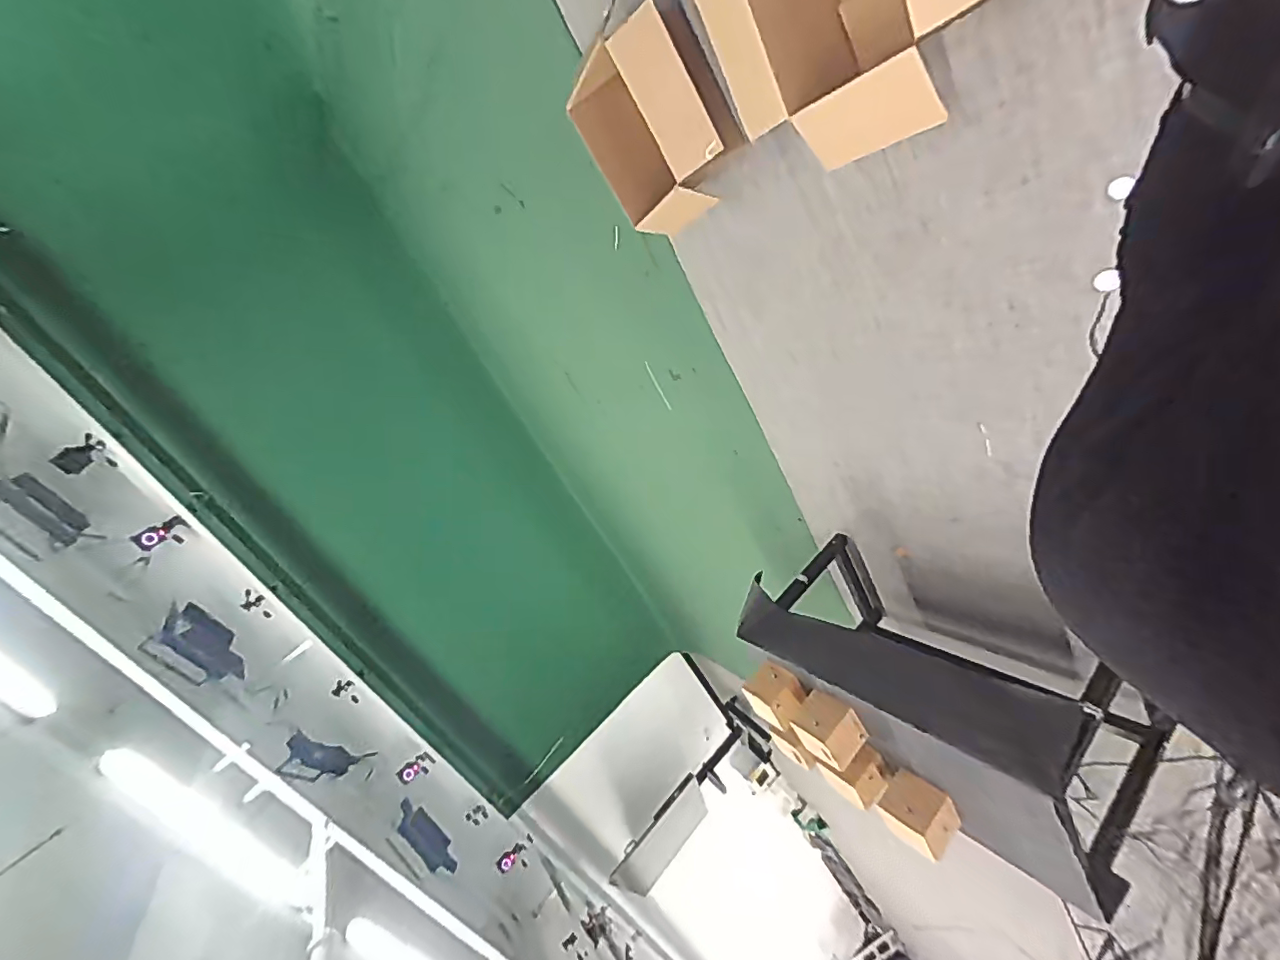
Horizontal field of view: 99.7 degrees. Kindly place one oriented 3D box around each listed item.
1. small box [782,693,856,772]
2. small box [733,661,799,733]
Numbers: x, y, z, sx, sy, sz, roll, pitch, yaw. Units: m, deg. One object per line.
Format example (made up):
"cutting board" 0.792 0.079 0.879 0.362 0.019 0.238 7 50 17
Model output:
"small box" 0.660 0.912 1.973 0.168 0.176 0.179 58 157 -19
"small box" 0.515 0.873 2.188 0.168 0.176 0.179 13 138 56
